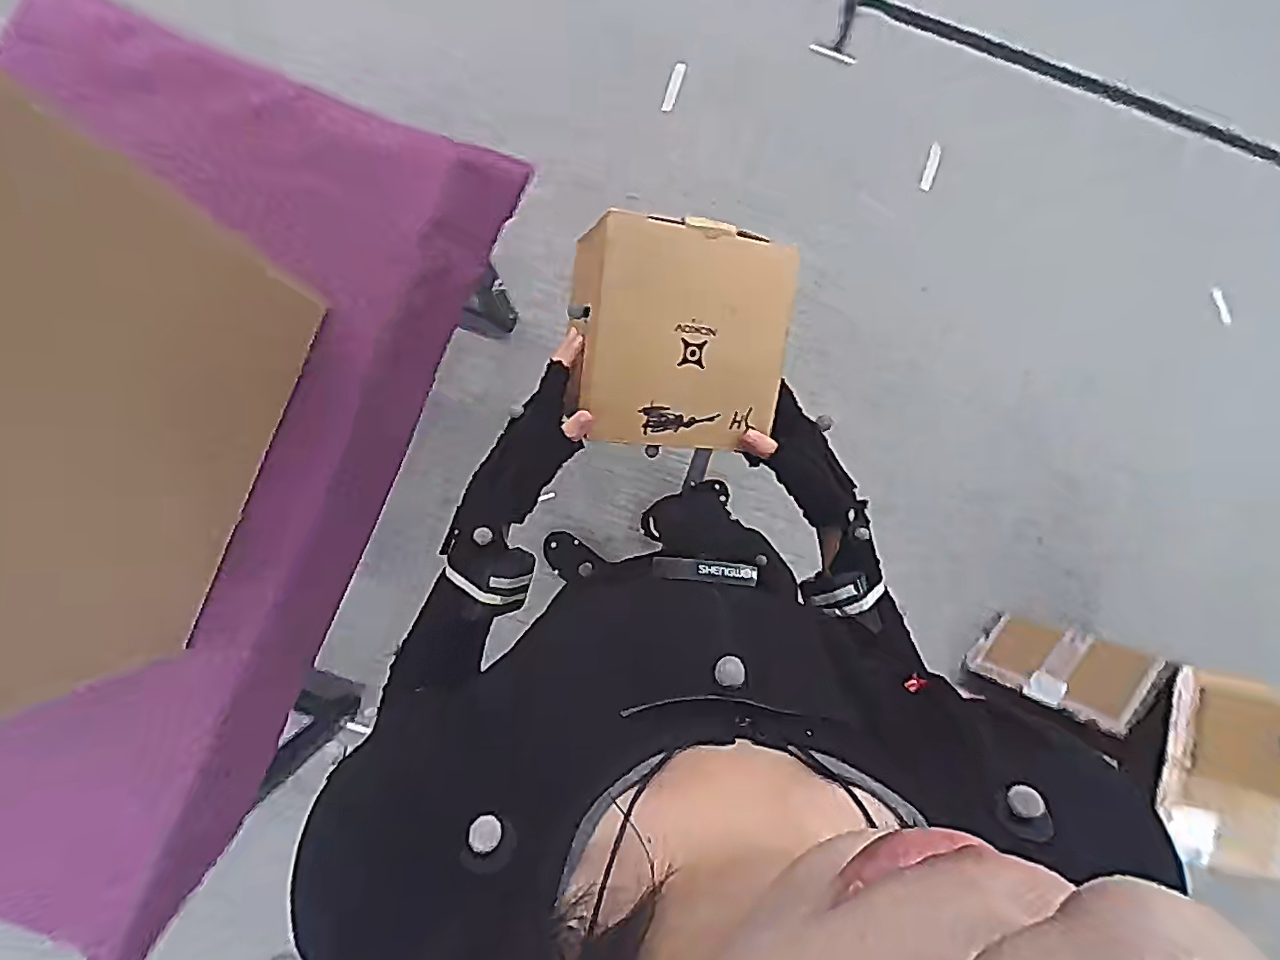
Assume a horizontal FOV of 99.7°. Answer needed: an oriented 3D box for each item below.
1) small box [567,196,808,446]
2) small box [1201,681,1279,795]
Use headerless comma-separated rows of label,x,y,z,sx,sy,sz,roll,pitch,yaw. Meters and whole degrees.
small box,0.028,-0.137,0.507,0.168,0.176,0.179,3,104,-16
small box,1.227,0.499,1.021,0.168,0.176,0.179,11,86,-5
